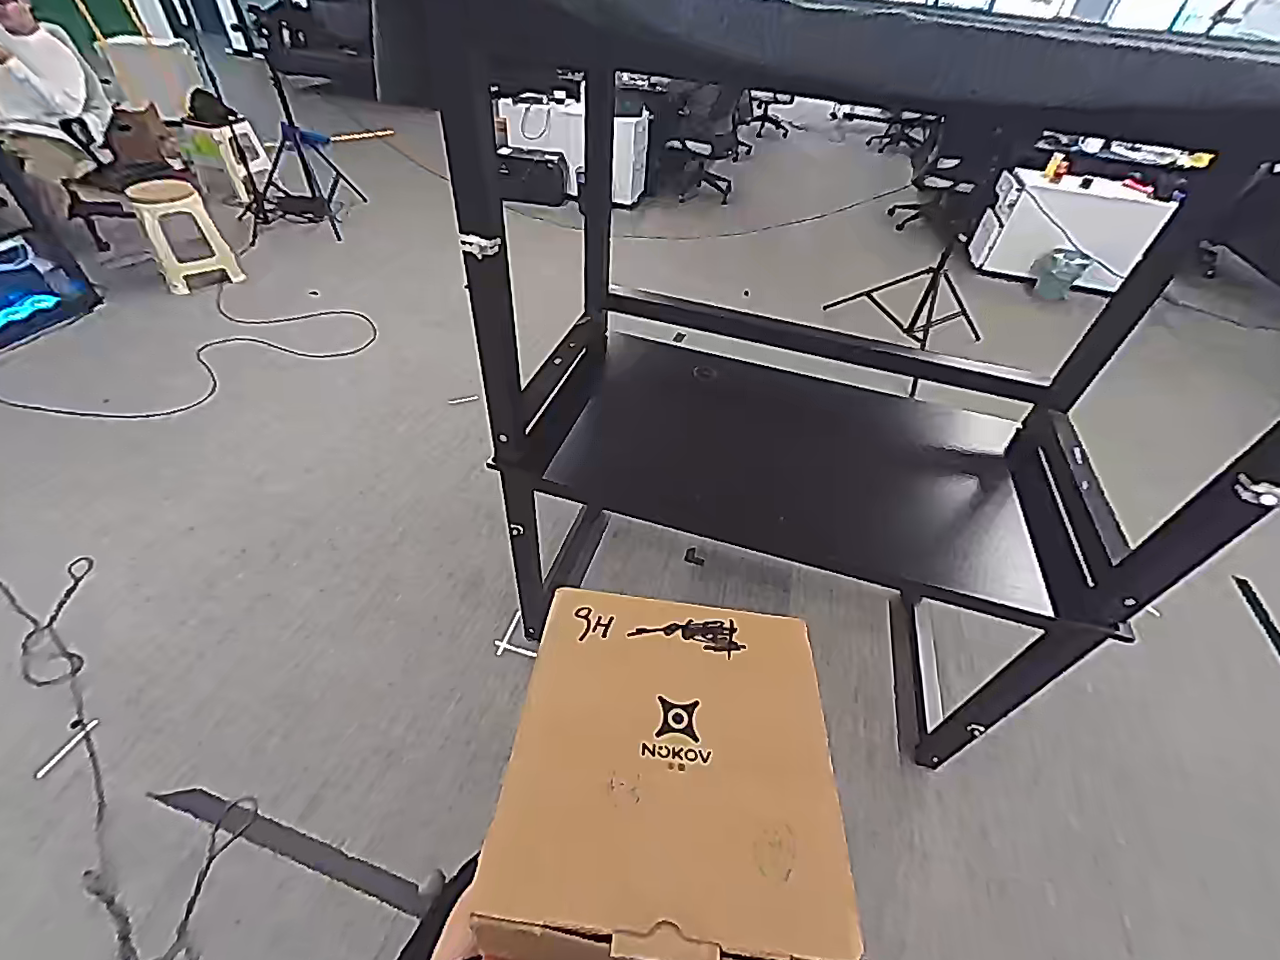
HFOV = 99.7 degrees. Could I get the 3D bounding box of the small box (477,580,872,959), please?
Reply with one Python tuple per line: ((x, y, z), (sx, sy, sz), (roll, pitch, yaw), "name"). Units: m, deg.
((0.015, 0.191, 0.332), (0.168, 0.176, 0.179), (8, 40, 0), "small box")
